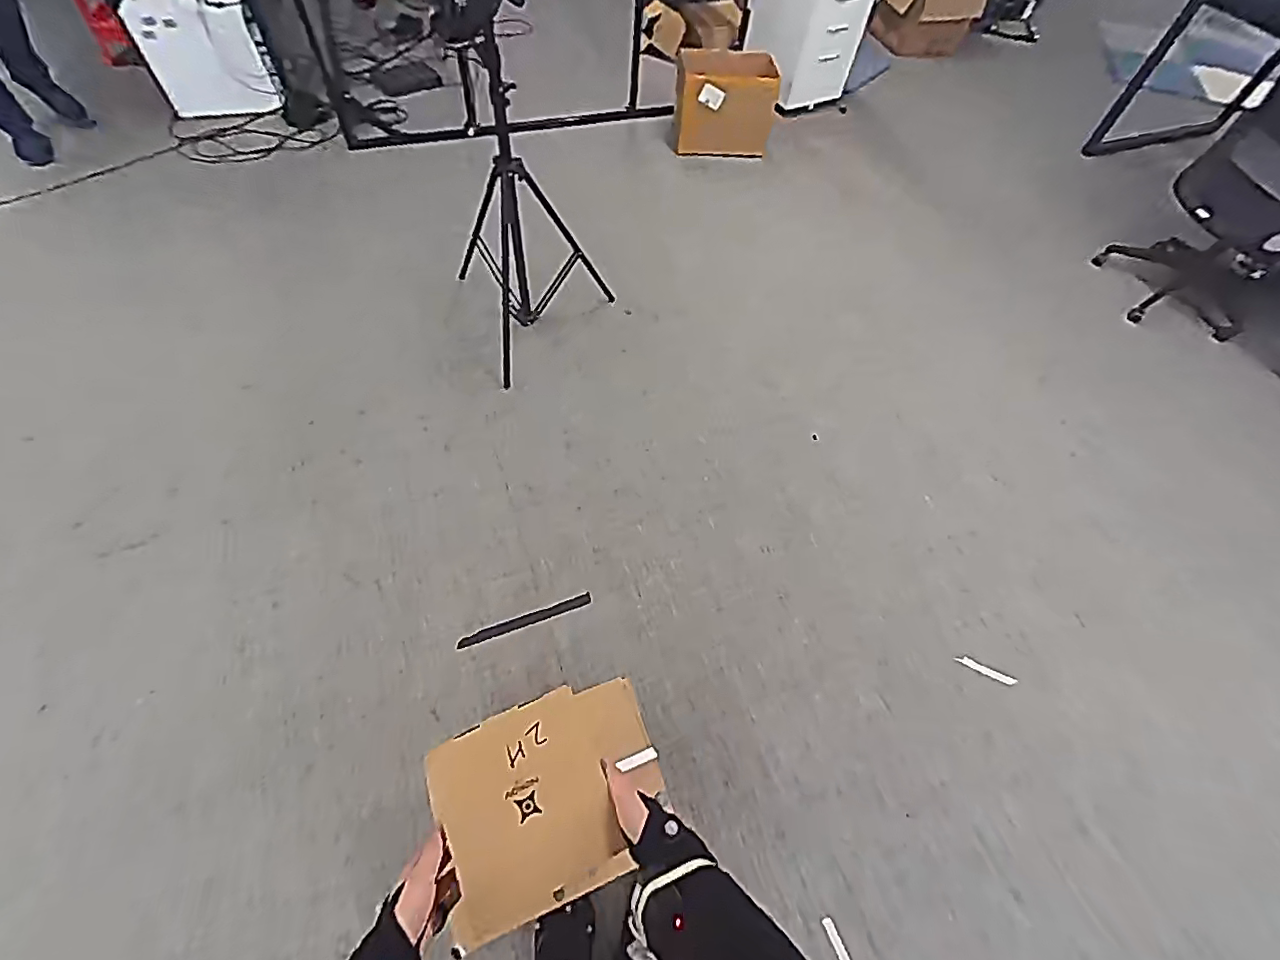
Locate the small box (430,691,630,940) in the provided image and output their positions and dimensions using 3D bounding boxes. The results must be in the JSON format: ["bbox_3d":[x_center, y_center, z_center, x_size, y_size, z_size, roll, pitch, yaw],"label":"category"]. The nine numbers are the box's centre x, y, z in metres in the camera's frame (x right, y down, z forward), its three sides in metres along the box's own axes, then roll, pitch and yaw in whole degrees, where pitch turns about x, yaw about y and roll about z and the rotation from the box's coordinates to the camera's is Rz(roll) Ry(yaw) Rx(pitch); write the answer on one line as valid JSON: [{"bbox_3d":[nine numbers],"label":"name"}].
[{"bbox_3d":[-0.123,0.376,0.630,0.168,0.176,0.179,-20,62,-18],"label":"small box"}]
